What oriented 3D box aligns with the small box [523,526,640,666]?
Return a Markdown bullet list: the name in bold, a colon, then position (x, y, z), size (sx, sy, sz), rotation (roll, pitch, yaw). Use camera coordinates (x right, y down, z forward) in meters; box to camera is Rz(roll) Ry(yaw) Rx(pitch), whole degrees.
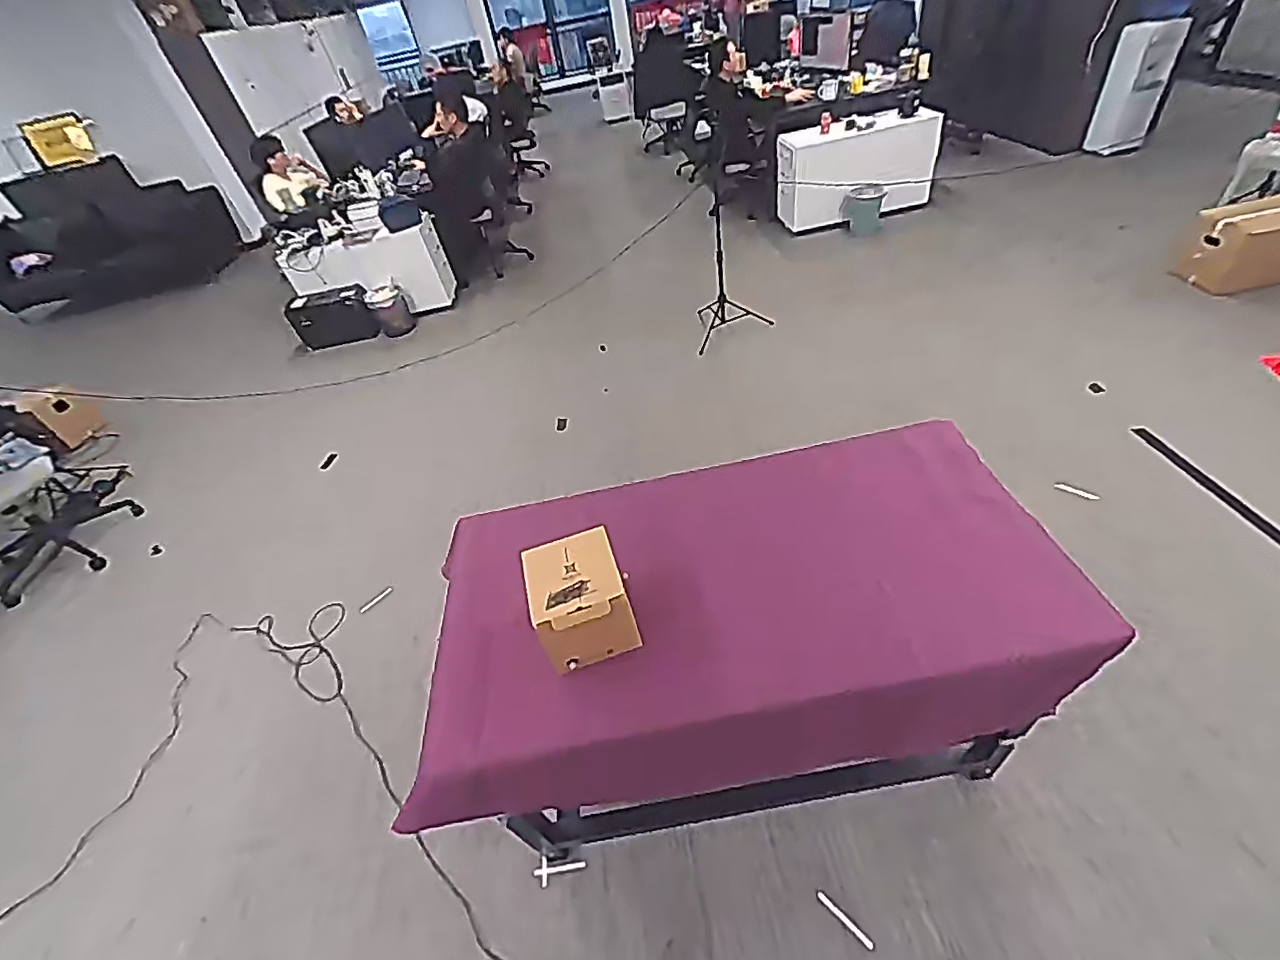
- **small box**: position (-0.107, 0.223, 1.011), size (0.168, 0.176, 0.179), rotation (-18, 42, -6)
